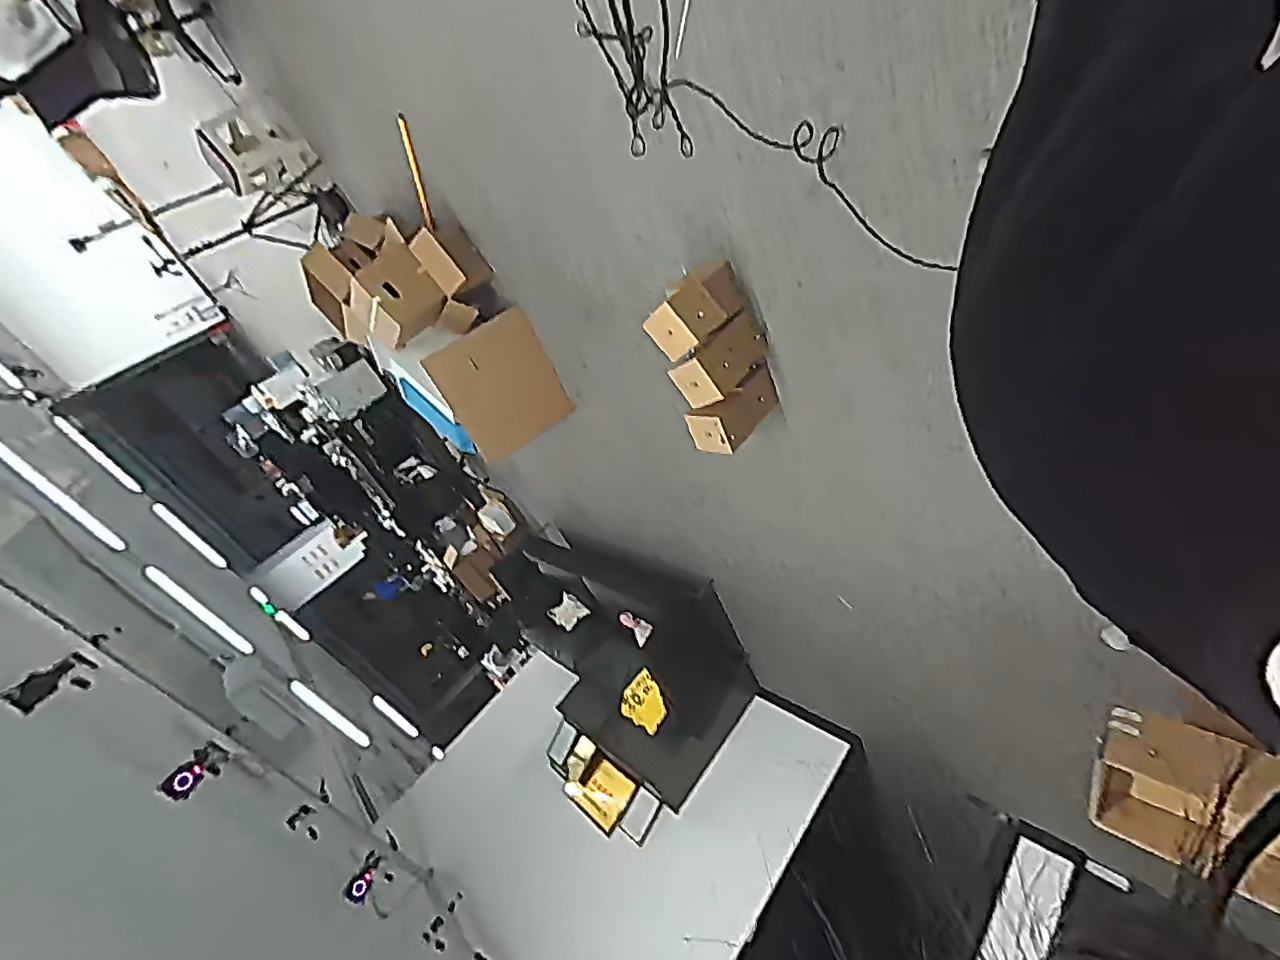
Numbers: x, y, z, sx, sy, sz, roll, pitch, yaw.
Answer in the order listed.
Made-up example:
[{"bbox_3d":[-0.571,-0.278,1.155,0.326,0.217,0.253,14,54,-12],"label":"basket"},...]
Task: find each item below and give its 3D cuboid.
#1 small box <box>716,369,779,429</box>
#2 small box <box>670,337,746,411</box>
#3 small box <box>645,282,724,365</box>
[{"bbox_3d":[0.410,-0.319,2.090,0.168,0.176,0.179,12,139,49],"label":"small box"},{"bbox_3d":[0.245,-0.371,1.889,0.168,0.176,0.179,53,153,-14],"label":"small box"},{"bbox_3d":[0.154,-0.522,1.800,0.168,0.176,0.179,49,154,-7],"label":"small box"}]
